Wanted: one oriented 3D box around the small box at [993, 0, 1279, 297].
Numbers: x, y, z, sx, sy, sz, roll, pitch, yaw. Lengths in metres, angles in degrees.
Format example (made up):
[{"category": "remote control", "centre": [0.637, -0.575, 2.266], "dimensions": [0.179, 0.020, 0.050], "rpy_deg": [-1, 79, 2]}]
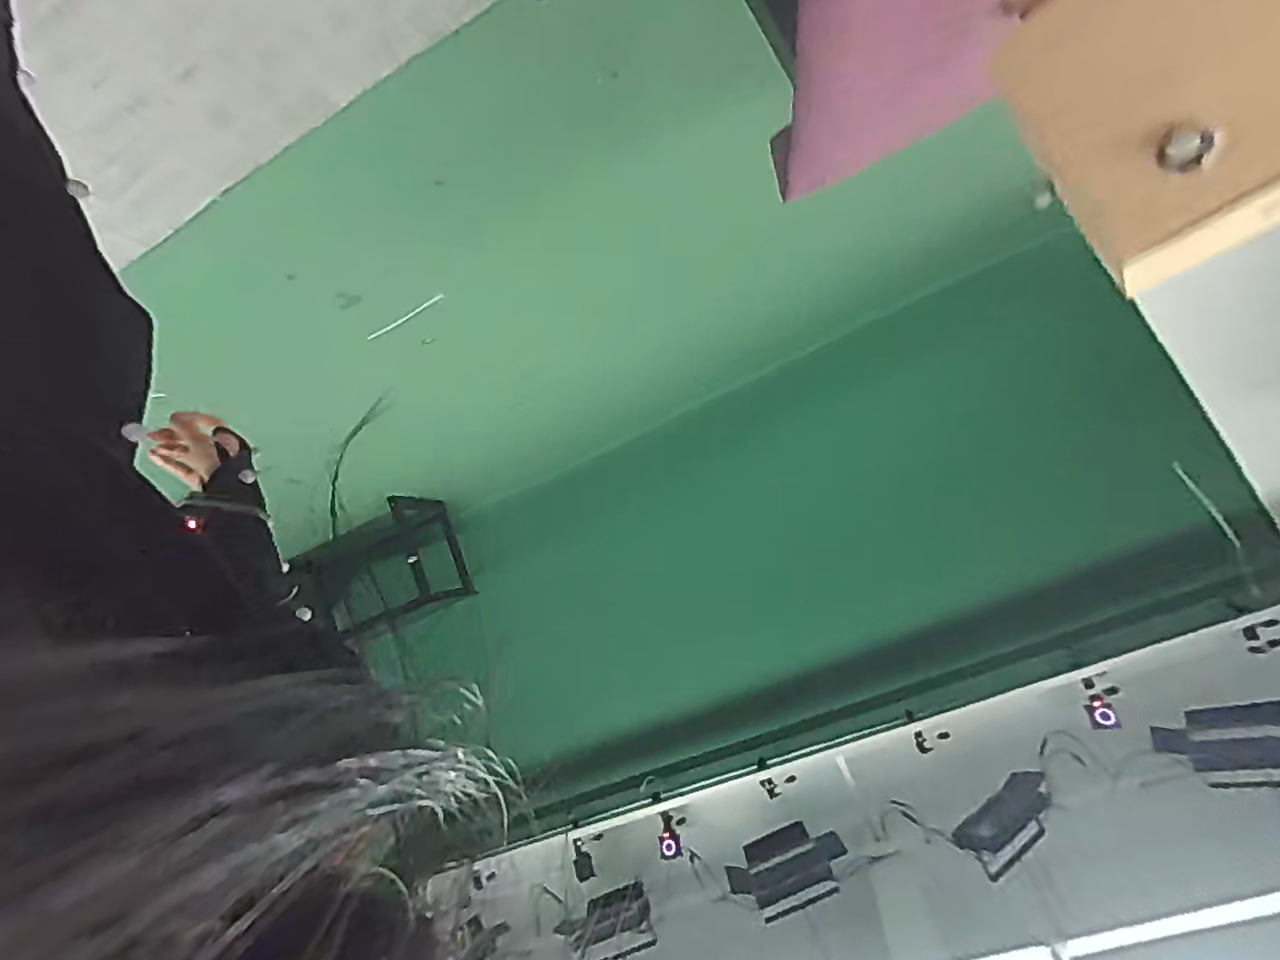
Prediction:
[{"category": "small box", "centre": [0.359, -0.248, 0.345], "dimensions": [0.168, 0.176, 0.179], "rpy_deg": [-12, 164, -47]}]
